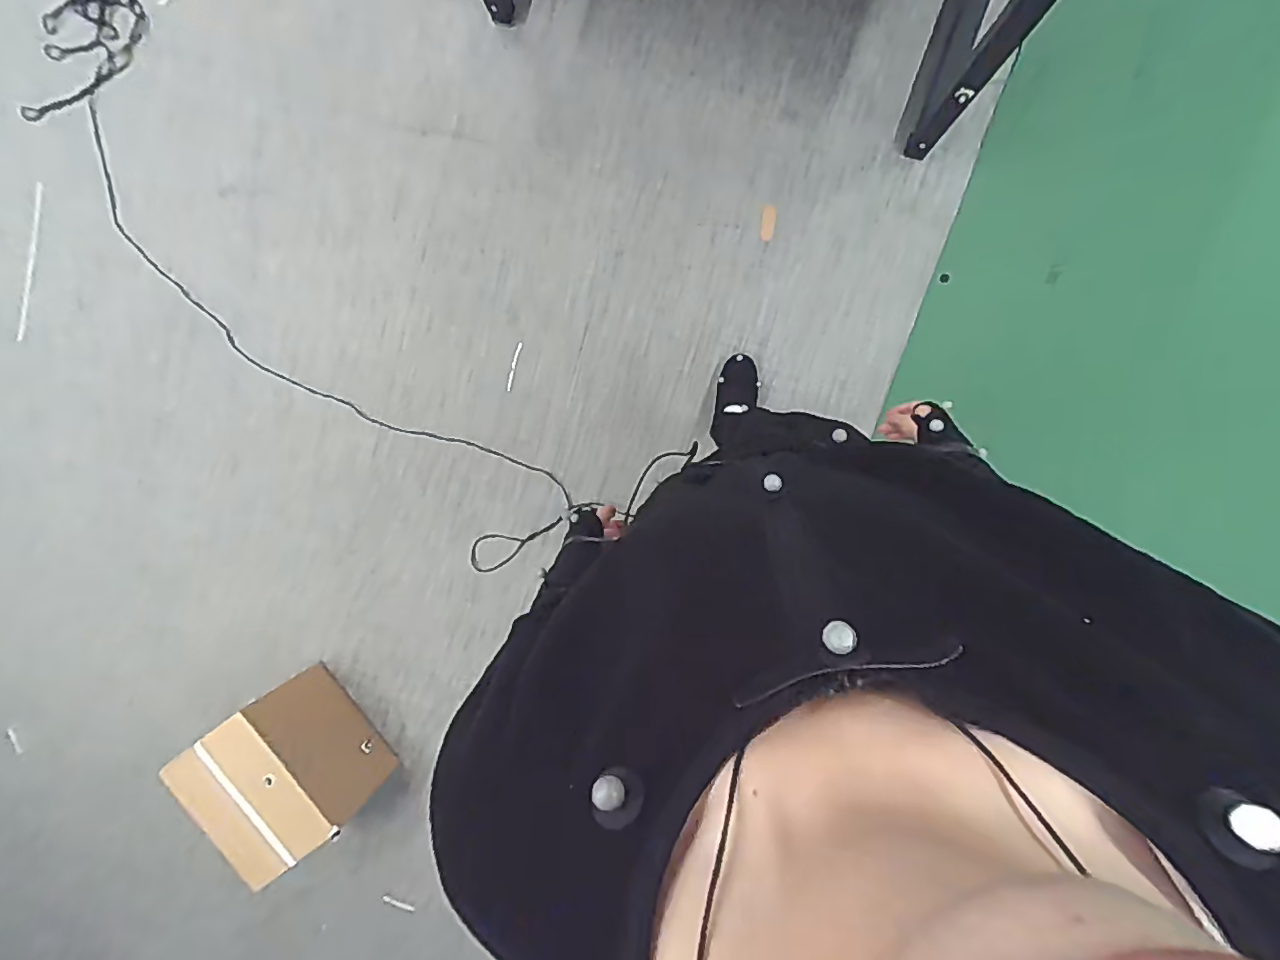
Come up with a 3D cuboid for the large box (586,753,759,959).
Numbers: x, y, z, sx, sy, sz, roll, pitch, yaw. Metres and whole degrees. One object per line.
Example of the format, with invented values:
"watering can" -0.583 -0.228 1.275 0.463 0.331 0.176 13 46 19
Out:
"large box" 0.082 0.973 1.439 0.408 0.320 0.320 5 96 4
